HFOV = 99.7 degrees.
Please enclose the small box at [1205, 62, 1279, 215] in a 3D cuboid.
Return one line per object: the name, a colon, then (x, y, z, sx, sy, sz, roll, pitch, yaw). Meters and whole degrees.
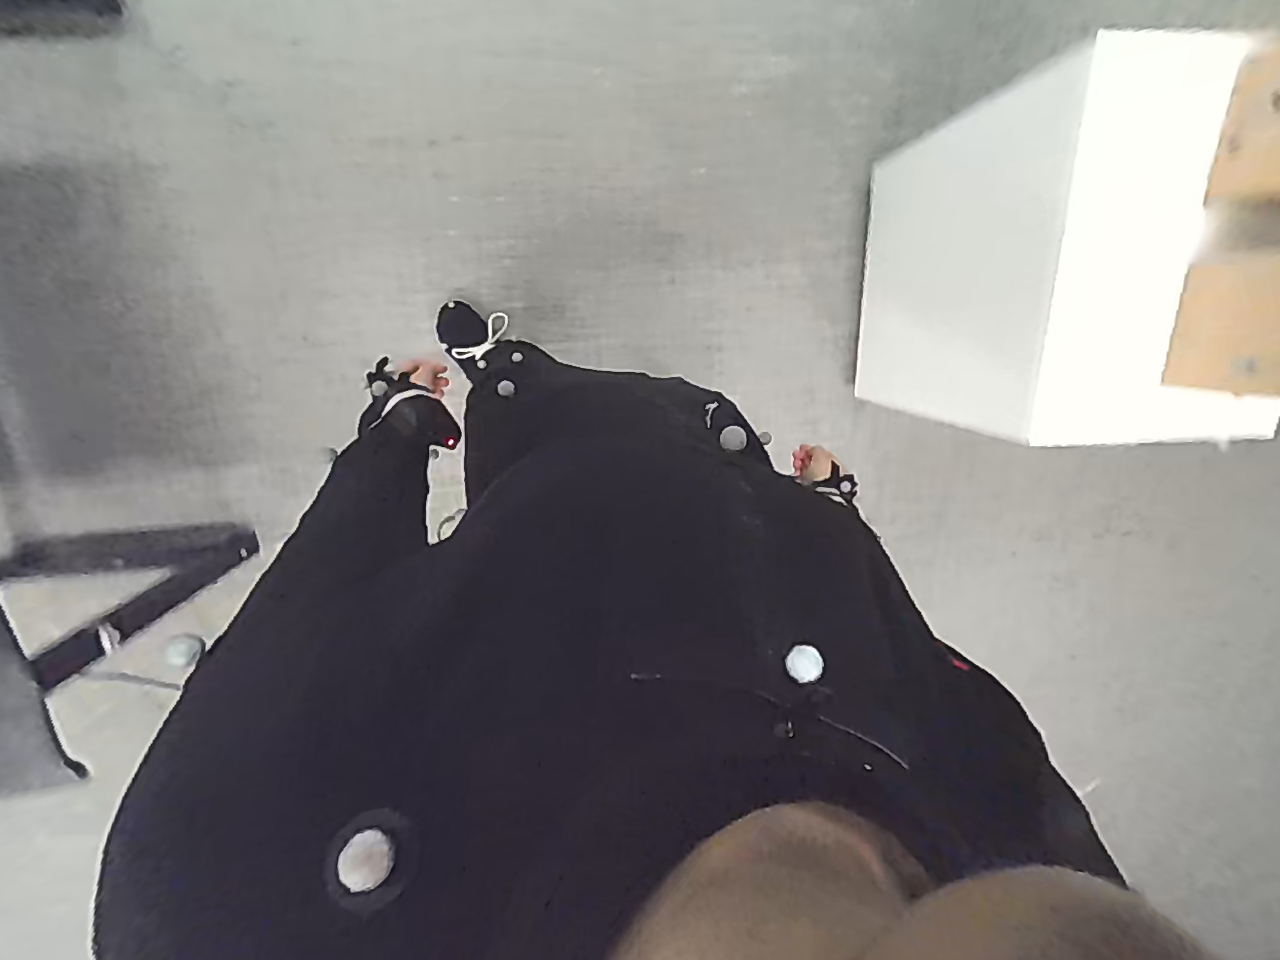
small box: (0.842, -0.414, 0.628, 0.179, 0.176, 0.168, -1, 106, -4)
